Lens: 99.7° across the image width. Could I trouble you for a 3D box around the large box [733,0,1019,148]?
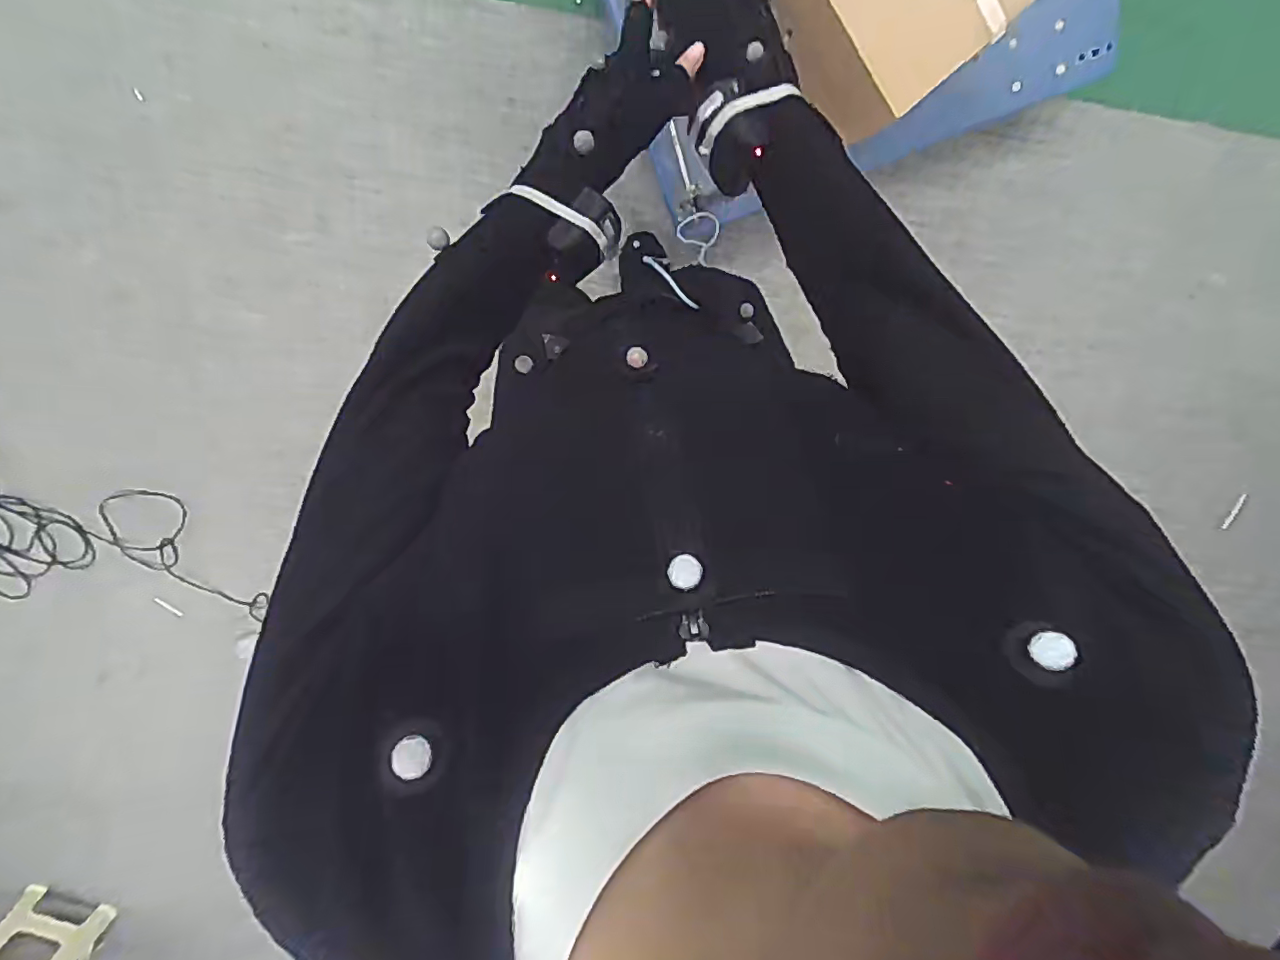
[{"bbox_3d":[0.353,-0.821,0.838,0.320,0.320,0.408,-38,107,15],"label":"large box"}]
